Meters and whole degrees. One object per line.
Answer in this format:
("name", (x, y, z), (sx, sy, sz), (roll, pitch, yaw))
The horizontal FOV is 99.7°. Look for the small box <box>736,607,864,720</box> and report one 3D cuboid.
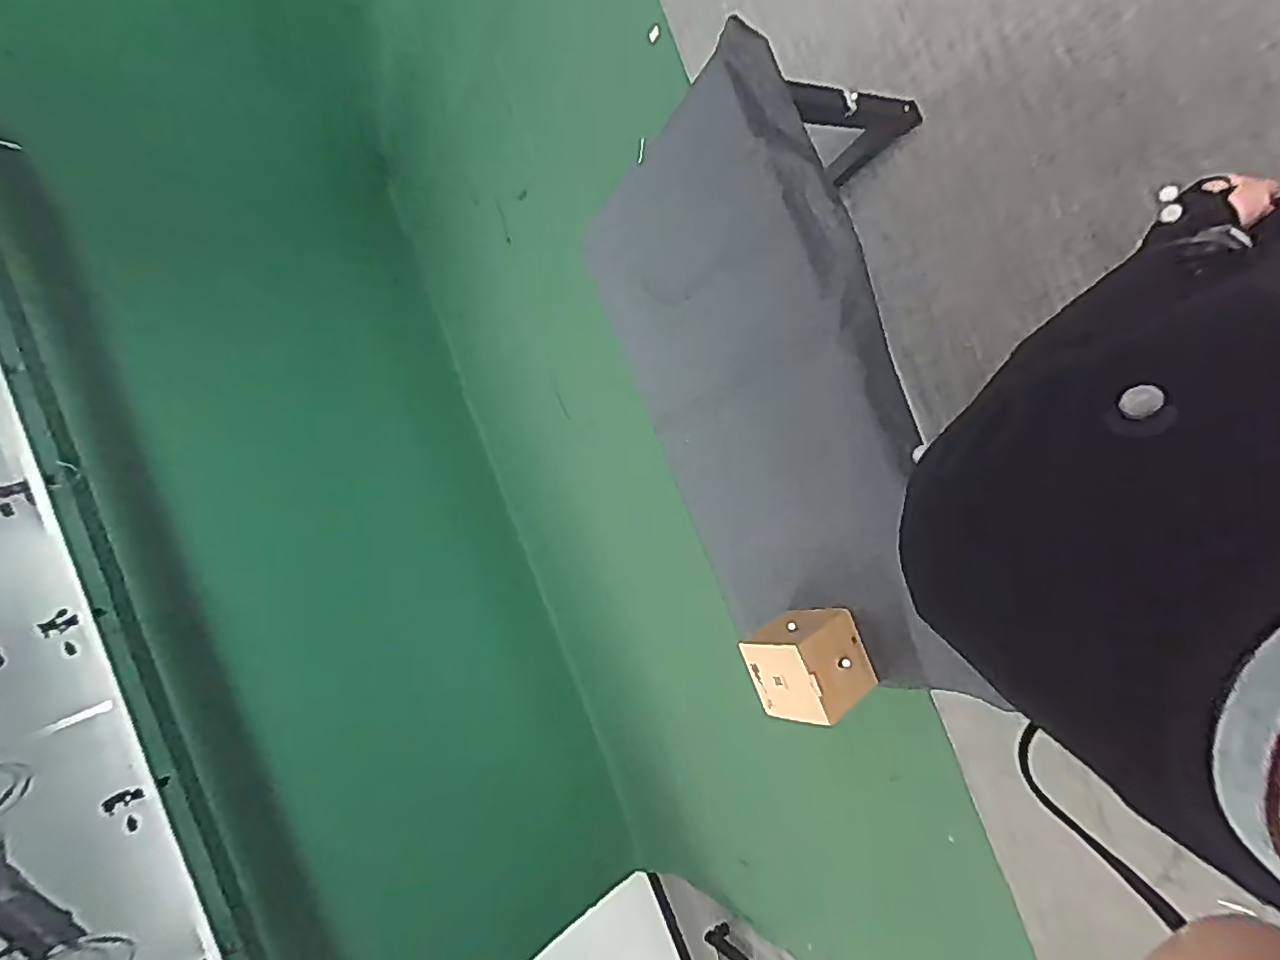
("small box", (0.340, 0.375, 1.132), (0.179, 0.176, 0.168), (-25, 85, 56))
